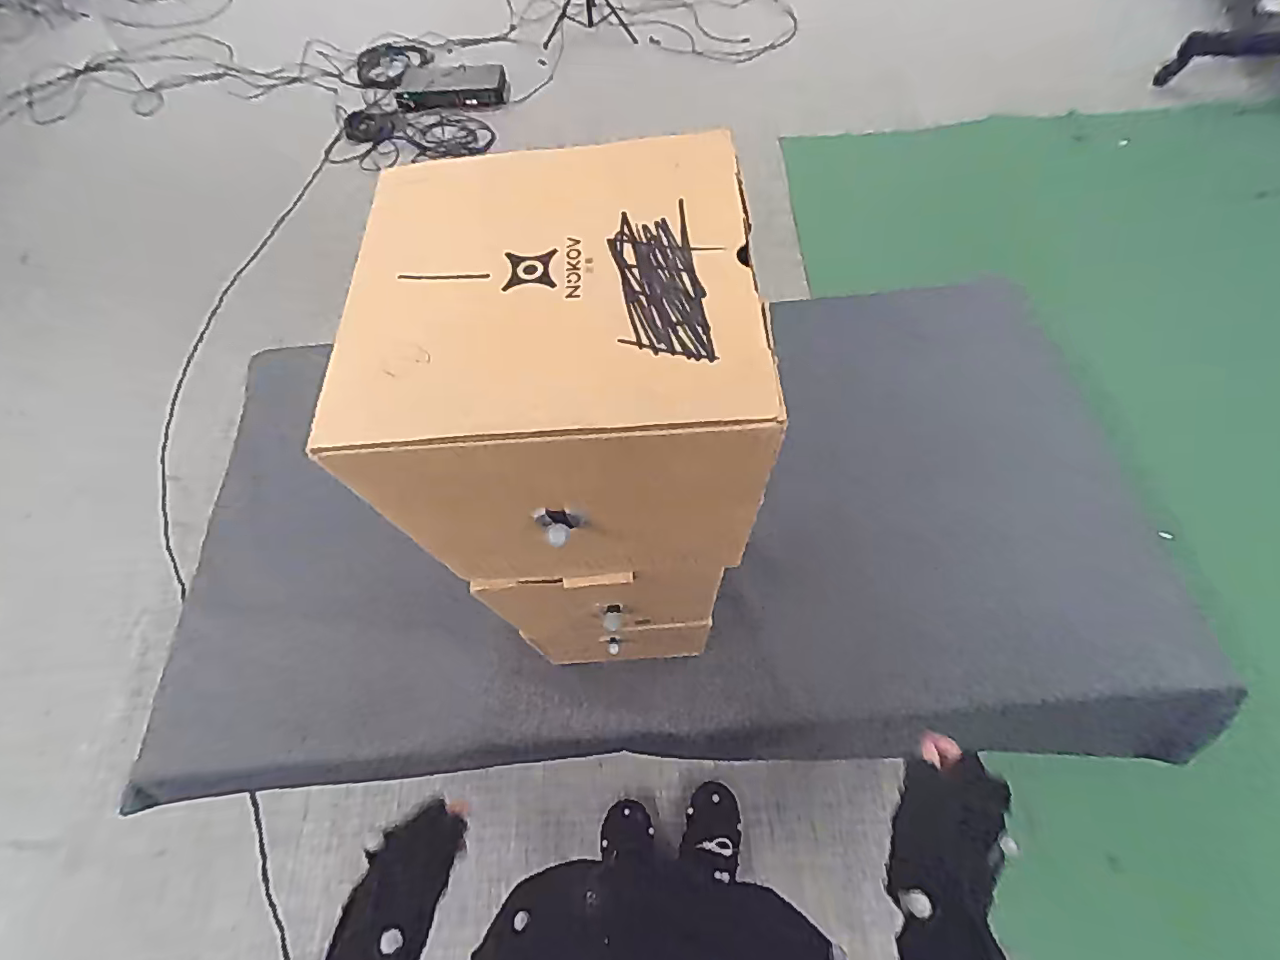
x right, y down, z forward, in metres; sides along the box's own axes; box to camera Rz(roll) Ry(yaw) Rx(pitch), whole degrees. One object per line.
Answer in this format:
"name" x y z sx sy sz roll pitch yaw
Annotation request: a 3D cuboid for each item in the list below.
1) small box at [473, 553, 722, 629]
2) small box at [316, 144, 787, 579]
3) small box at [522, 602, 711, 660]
"small box" -0.028 0.022 0.451 0.168 0.176 0.179 -6 64 0
"small box" -0.031 -0.049 0.301 0.179 0.176 0.168 -4 63 3
"small box" -0.021 0.099 0.594 0.179 0.176 0.168 -4 64 0
